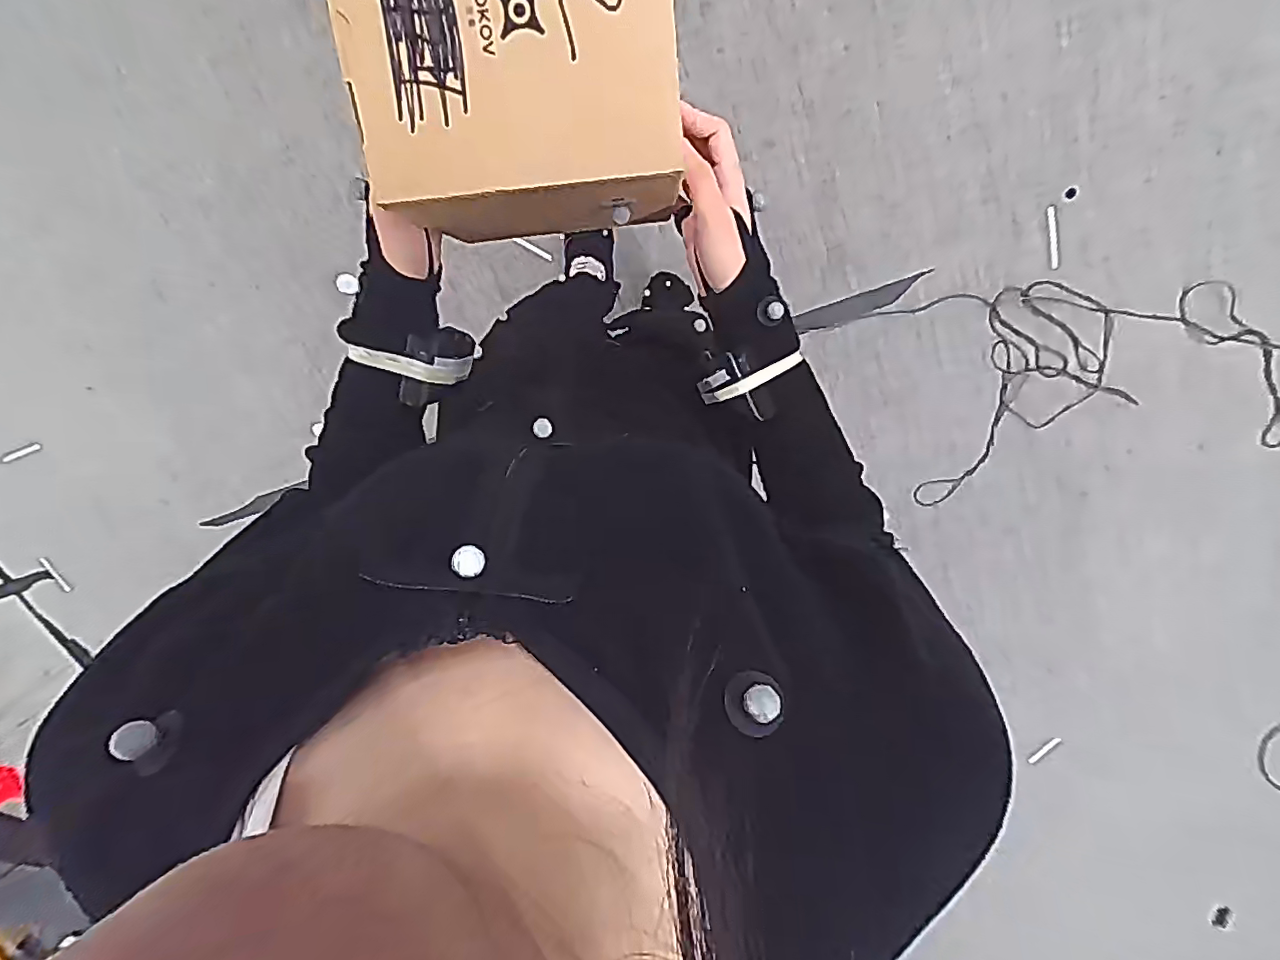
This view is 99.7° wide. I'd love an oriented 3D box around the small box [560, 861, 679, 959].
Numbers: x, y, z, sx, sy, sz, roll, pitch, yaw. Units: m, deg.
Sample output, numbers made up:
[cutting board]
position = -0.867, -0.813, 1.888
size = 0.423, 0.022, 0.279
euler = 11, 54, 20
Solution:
[small box]
position = -0.029, 0.858, 1.015
size = 0.179, 0.176, 0.168
euler = -14, 111, 10
